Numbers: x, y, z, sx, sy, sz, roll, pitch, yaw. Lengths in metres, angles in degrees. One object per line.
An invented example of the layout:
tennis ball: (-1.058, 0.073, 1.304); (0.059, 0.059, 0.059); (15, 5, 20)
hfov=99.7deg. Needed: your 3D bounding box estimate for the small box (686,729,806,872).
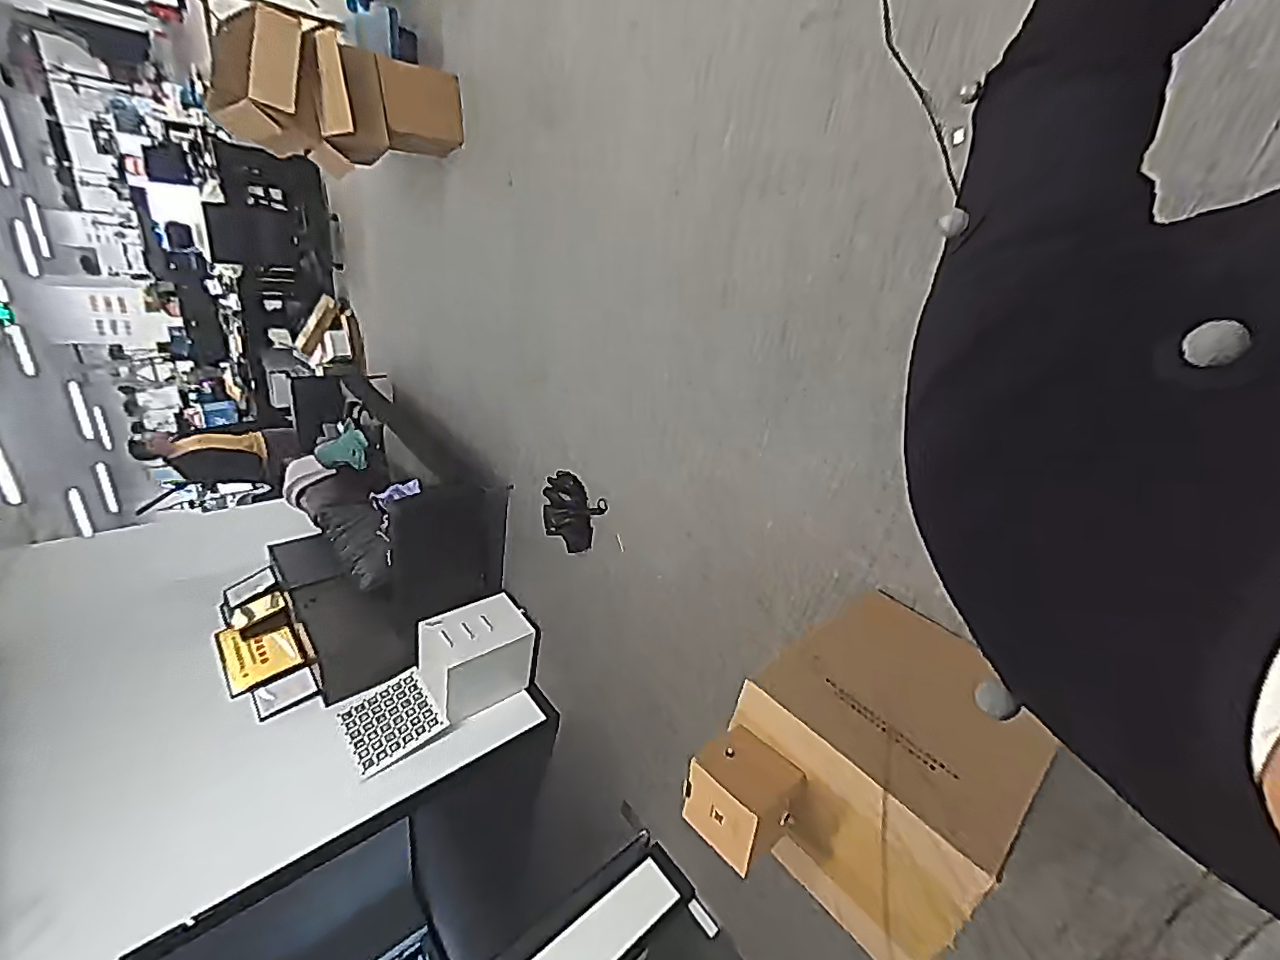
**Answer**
small box: (0.226, 0.669, 1.159); (0.179, 0.176, 0.168); (24, 115, 43)
